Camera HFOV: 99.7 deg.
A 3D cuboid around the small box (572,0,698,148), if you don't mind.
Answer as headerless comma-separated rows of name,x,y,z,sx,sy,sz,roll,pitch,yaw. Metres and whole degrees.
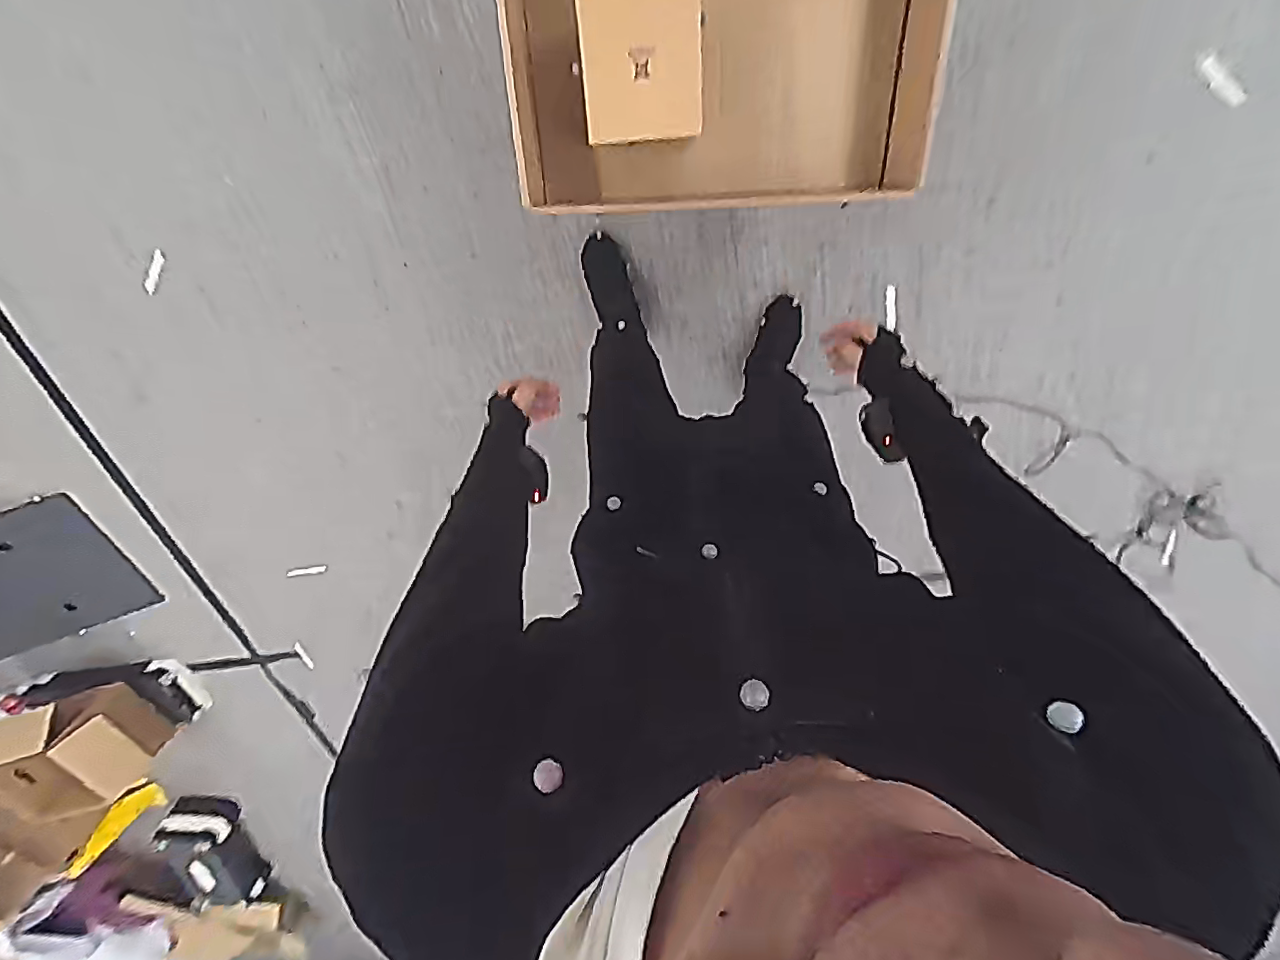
small box,0.001,-0.601,0.803,0.168,0.176,0.179,-3,117,3
